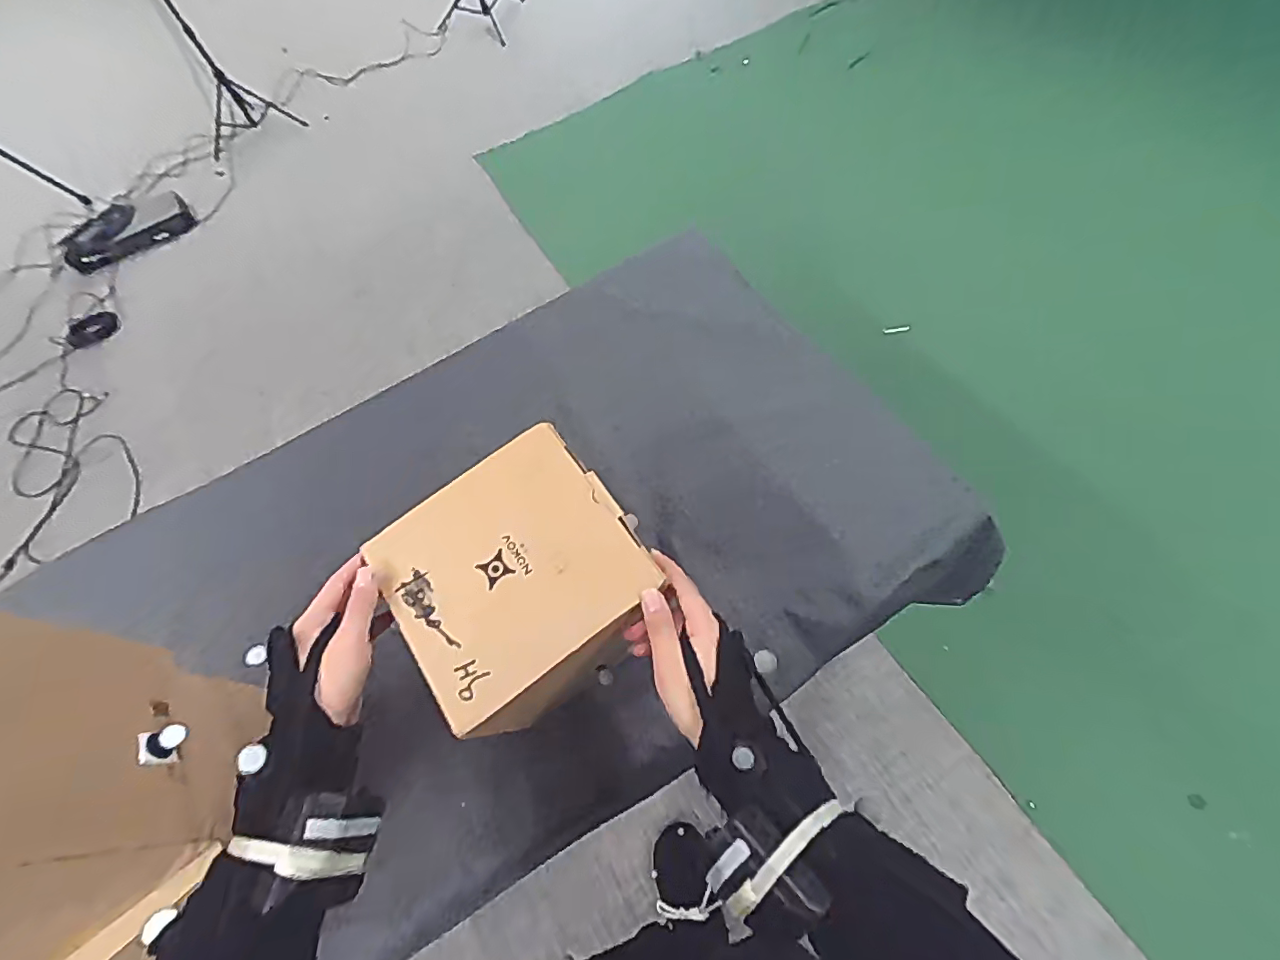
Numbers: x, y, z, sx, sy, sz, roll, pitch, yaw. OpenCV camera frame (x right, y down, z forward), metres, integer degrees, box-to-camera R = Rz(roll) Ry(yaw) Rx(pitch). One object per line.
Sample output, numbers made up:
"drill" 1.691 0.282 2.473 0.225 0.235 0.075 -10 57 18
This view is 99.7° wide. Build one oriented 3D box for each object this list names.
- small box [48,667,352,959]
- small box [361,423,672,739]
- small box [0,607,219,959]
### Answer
"small box" -0.392 0.291 0.459 0.168 0.176 0.179 -41 65 -14
"small box" -0.088 0.089 0.465 0.179 0.176 0.168 -36 69 -7
"small box" -0.415 0.202 0.324 0.179 0.176 0.168 -37 65 -13
